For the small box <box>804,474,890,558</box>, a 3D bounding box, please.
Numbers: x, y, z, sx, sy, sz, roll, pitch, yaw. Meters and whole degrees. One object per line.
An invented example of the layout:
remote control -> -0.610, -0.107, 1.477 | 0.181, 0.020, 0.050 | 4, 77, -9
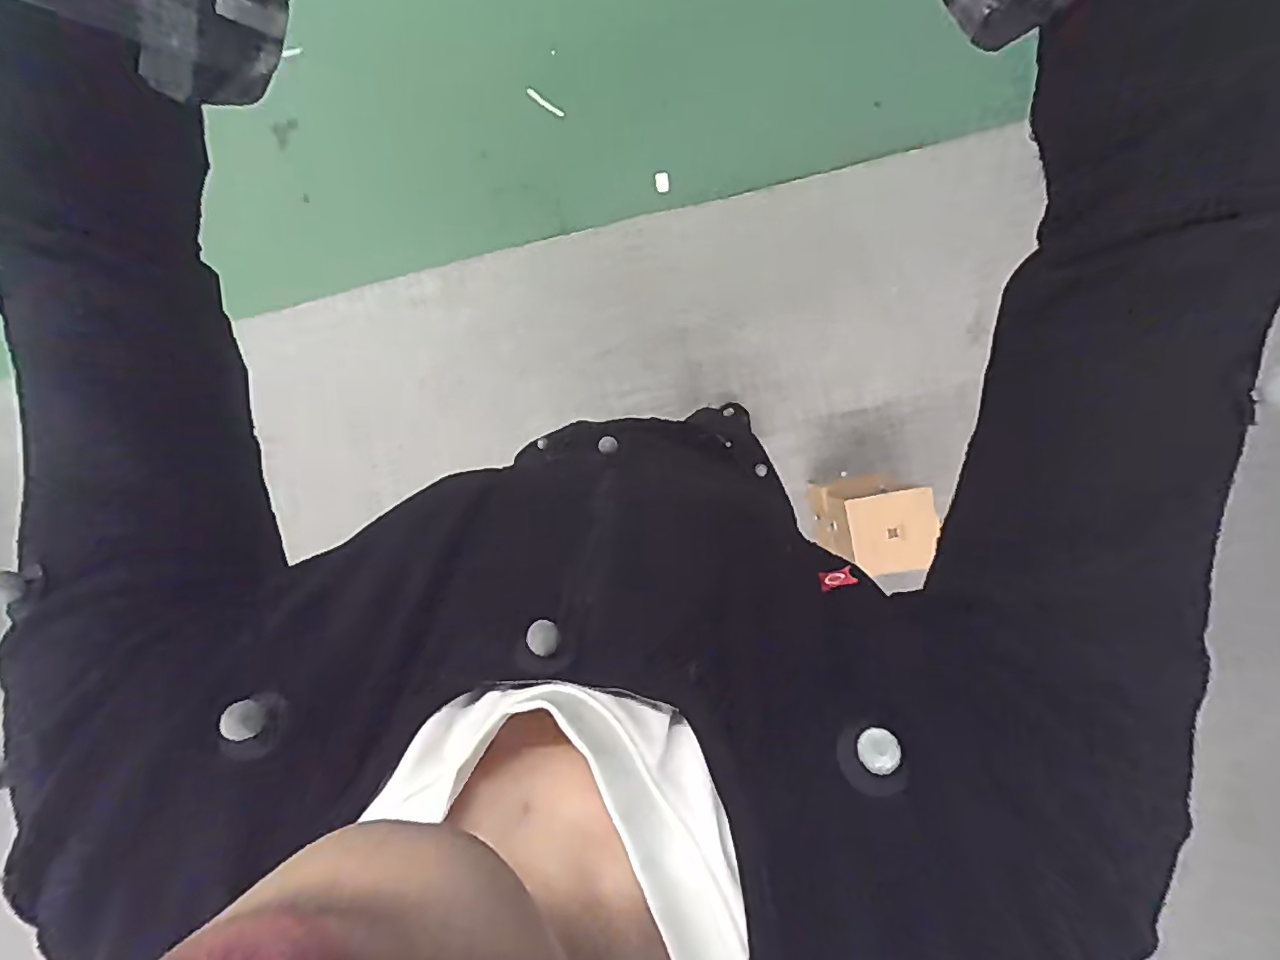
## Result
small box -> 0.518, 0.084, 1.342 | 0.168, 0.176, 0.179 | -10, 91, 4

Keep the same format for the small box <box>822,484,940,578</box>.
small box -> 0.518, 0.104, 1.182 | 0.179, 0.176, 0.168 | -11, 90, 5
